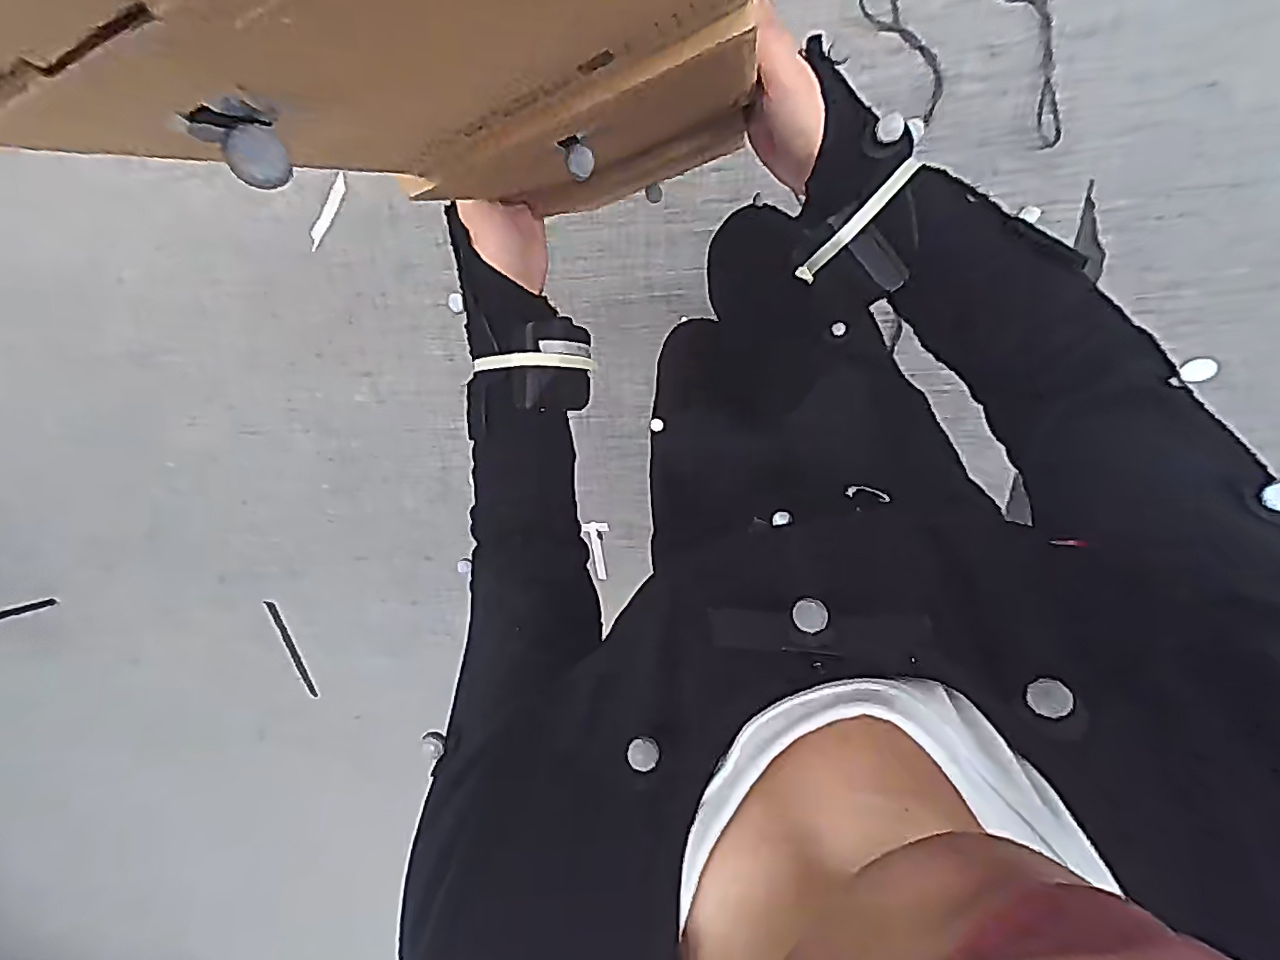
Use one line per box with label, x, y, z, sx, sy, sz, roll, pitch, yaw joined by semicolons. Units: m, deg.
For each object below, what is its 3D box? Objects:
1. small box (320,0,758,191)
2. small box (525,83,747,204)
small box;-0.046;-0.267;0.275;0.179;0.176;0.168;-13;114;19
small box;-0.018;-0.334;0.421;0.168;0.176;0.179;-13;115;18
